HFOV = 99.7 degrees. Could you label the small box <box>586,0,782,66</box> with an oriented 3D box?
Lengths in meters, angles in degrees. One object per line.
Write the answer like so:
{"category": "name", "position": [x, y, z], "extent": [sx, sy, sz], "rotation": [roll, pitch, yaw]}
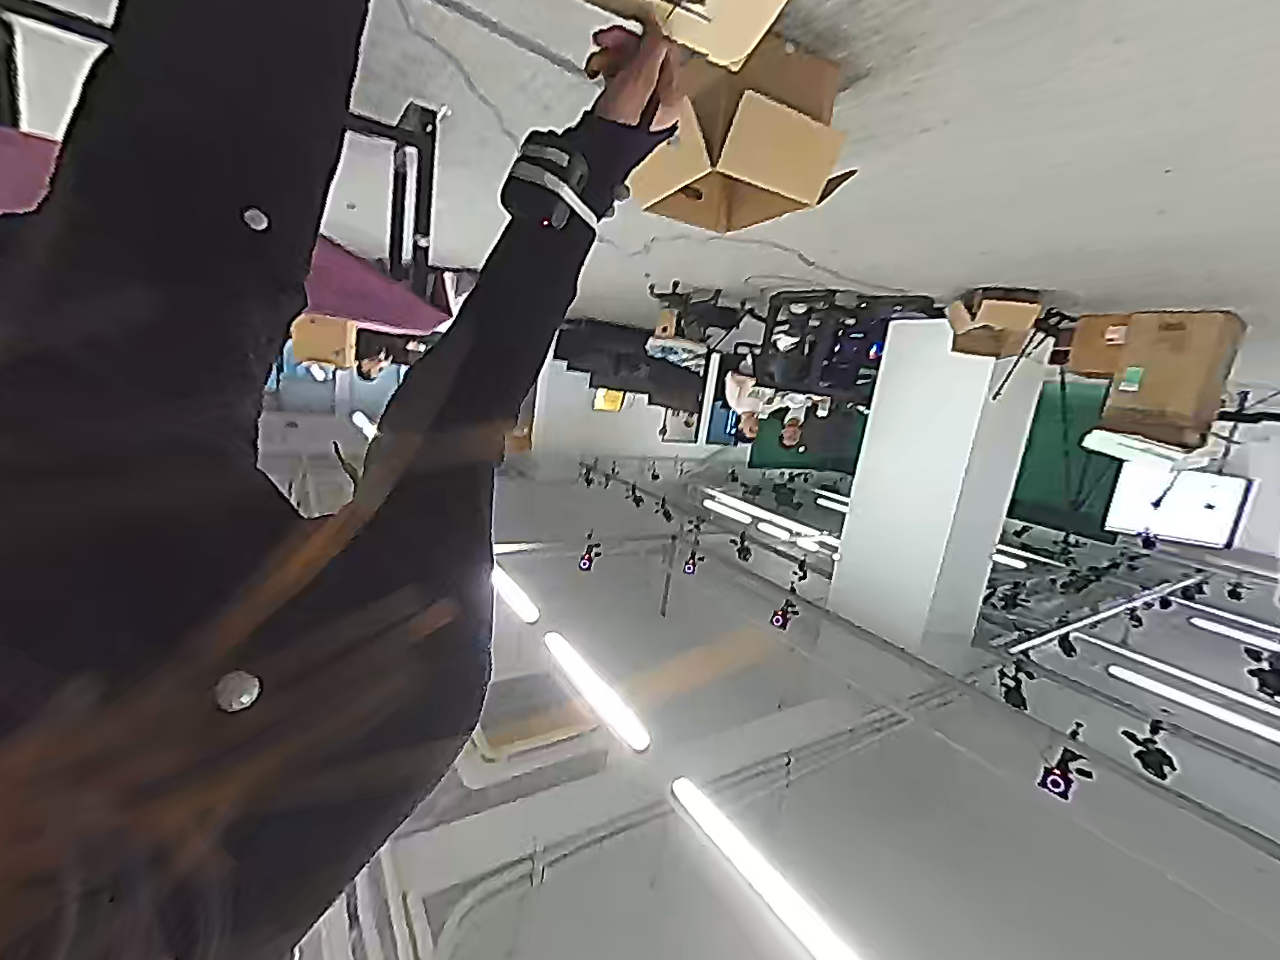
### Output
{"category": "small box", "position": [0.044, -0.455, 0.371], "extent": [0.168, 0.176, 0.179], "rotation": [2, 171, -26]}
